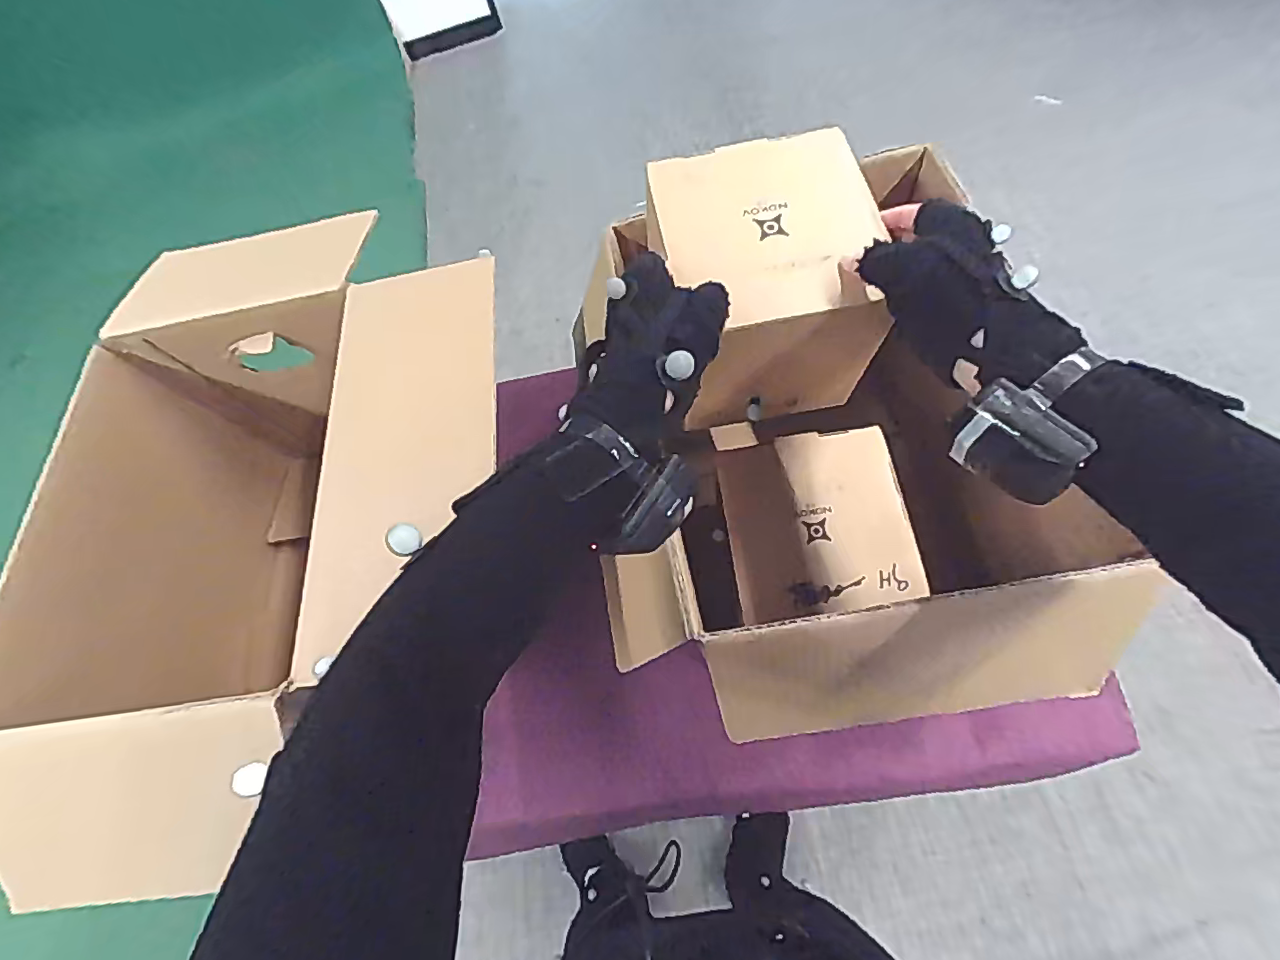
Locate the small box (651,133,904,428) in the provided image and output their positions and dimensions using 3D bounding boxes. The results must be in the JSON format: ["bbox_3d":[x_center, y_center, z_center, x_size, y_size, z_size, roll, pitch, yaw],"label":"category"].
[{"bbox_3d":[0.105,-0.171,0.498,0.168,0.176,0.179,-10,69,1],"label":"small box"}]
